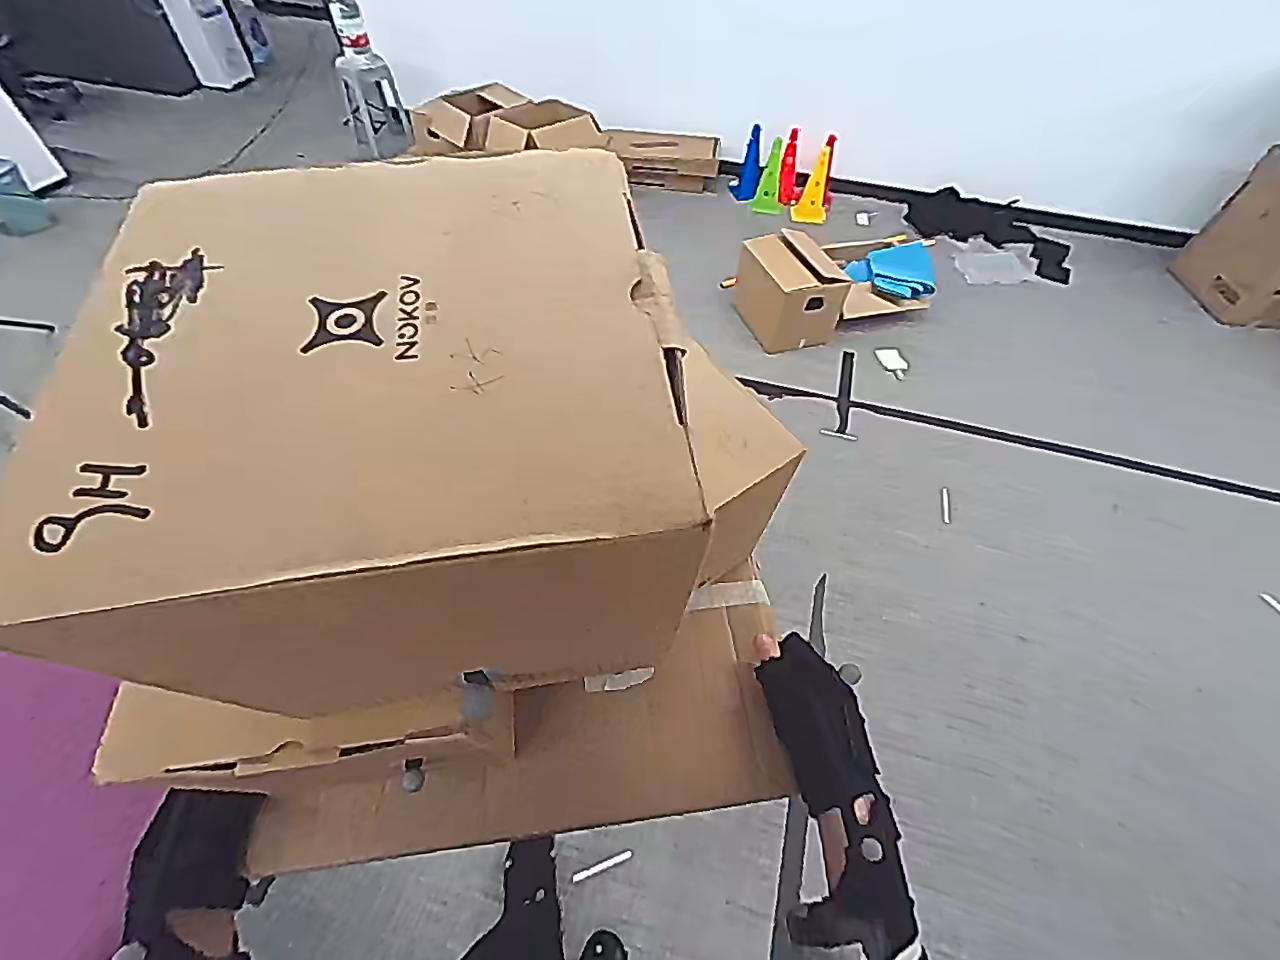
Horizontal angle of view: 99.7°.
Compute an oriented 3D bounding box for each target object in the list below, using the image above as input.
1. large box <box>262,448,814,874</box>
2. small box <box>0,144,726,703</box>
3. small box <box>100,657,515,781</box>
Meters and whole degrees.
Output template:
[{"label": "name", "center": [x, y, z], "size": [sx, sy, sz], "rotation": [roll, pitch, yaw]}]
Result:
[{"label": "large box", "center": [-0.092, 0.191, 0.587], "size": [0.408, 0.320, 0.320], "rotation": [-5, 60, -7]}, {"label": "small box", "center": [-0.078, -0.012, 0.234], "size": [0.179, 0.176, 0.168], "rotation": [-7, 60, -6]}, {"label": "small box", "center": [-0.175, 0.092, 0.359], "size": [0.168, 0.176, 0.179], "rotation": [-4, 58, -8]}]
